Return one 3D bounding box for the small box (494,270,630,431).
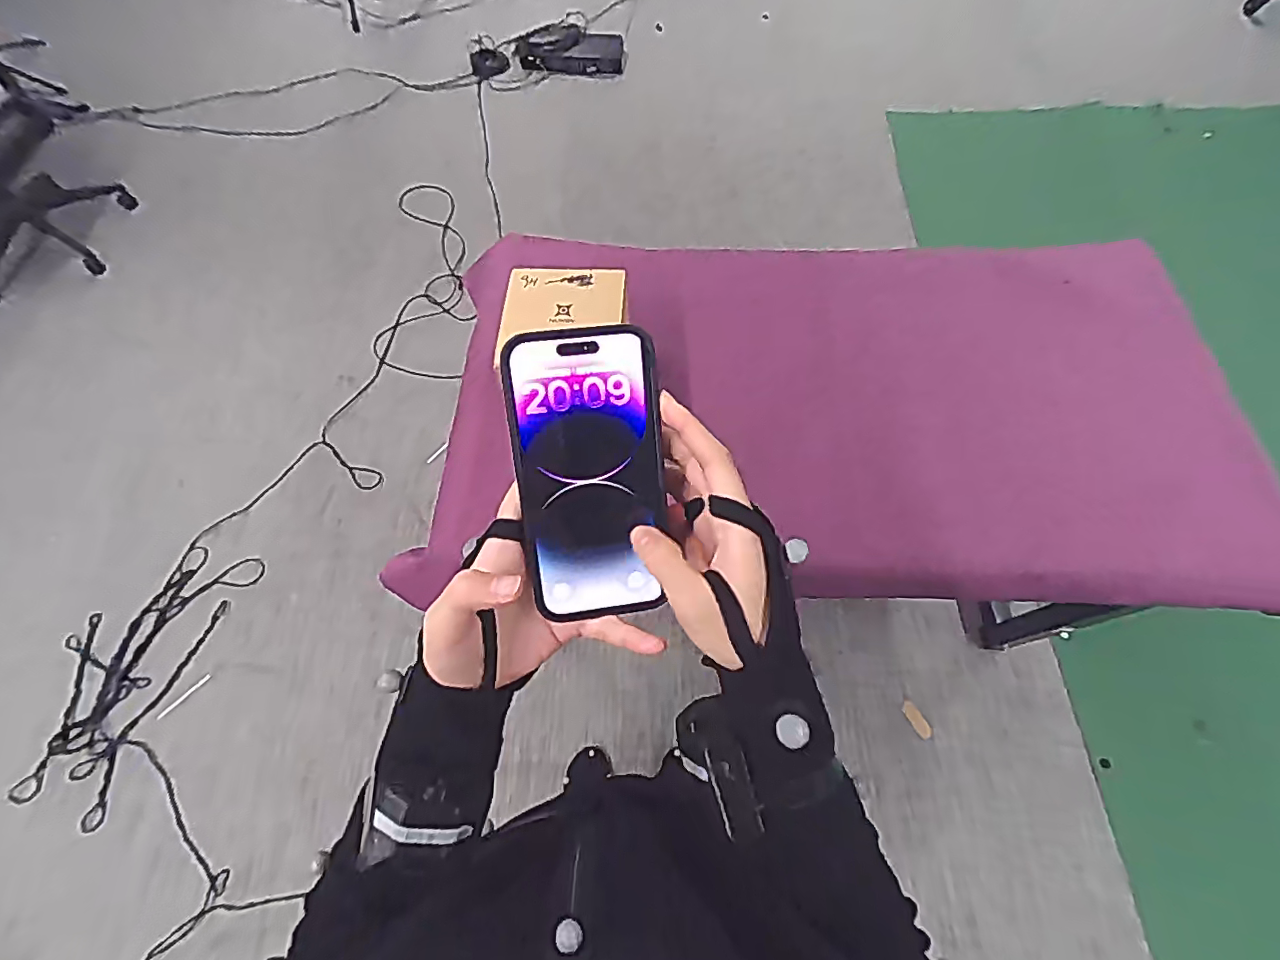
[{"bbox_3d":[-0.104,-0.187,0.811,0.168,0.176,0.179,2,64,3],"label":"small box"}]
